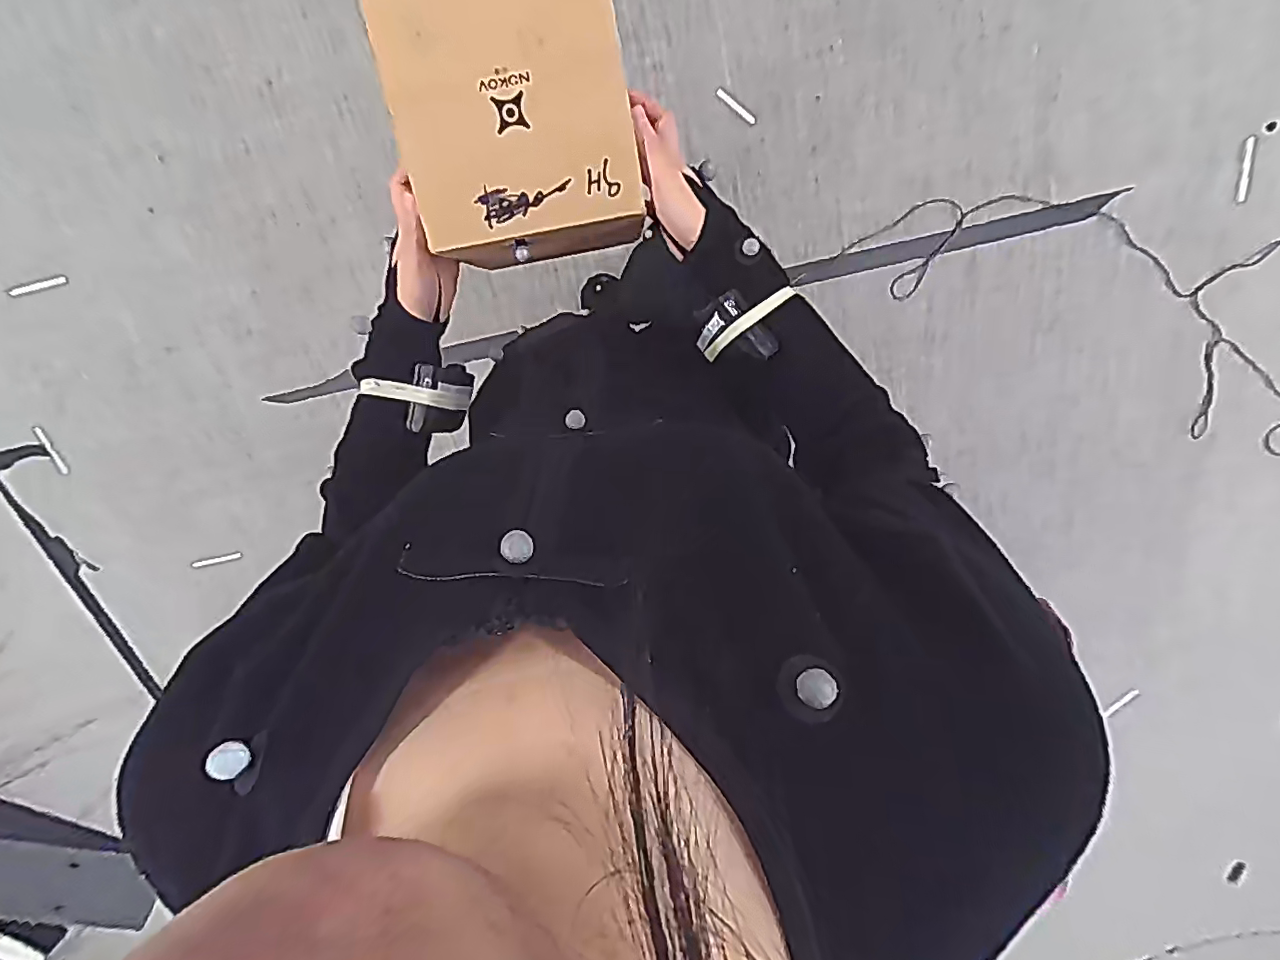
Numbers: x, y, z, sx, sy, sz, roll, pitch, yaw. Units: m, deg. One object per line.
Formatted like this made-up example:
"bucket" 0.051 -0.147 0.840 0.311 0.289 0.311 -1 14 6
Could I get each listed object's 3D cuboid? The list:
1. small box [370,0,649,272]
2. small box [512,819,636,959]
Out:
"small box" -0.090 -0.284 0.450 0.168 0.176 0.179 -10 107 1
"small box" -0.104 0.736 0.948 0.179 0.176 0.168 -11 112 3
